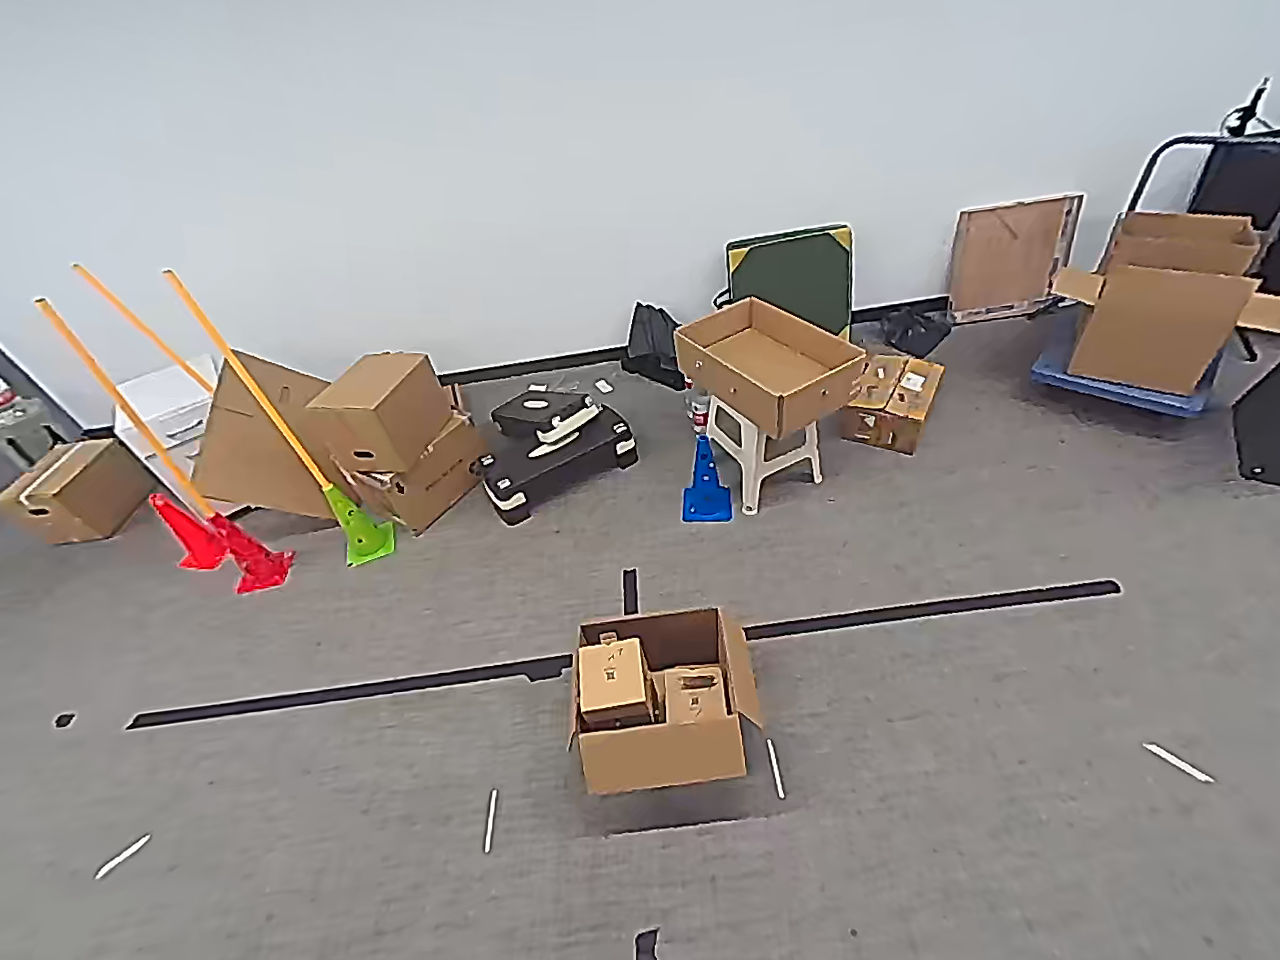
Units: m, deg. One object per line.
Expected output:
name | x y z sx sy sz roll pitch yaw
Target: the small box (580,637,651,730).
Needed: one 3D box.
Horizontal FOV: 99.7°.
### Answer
small box | -0.064 0.549 1.442 0.168 0.176 0.179 -8 44 1
